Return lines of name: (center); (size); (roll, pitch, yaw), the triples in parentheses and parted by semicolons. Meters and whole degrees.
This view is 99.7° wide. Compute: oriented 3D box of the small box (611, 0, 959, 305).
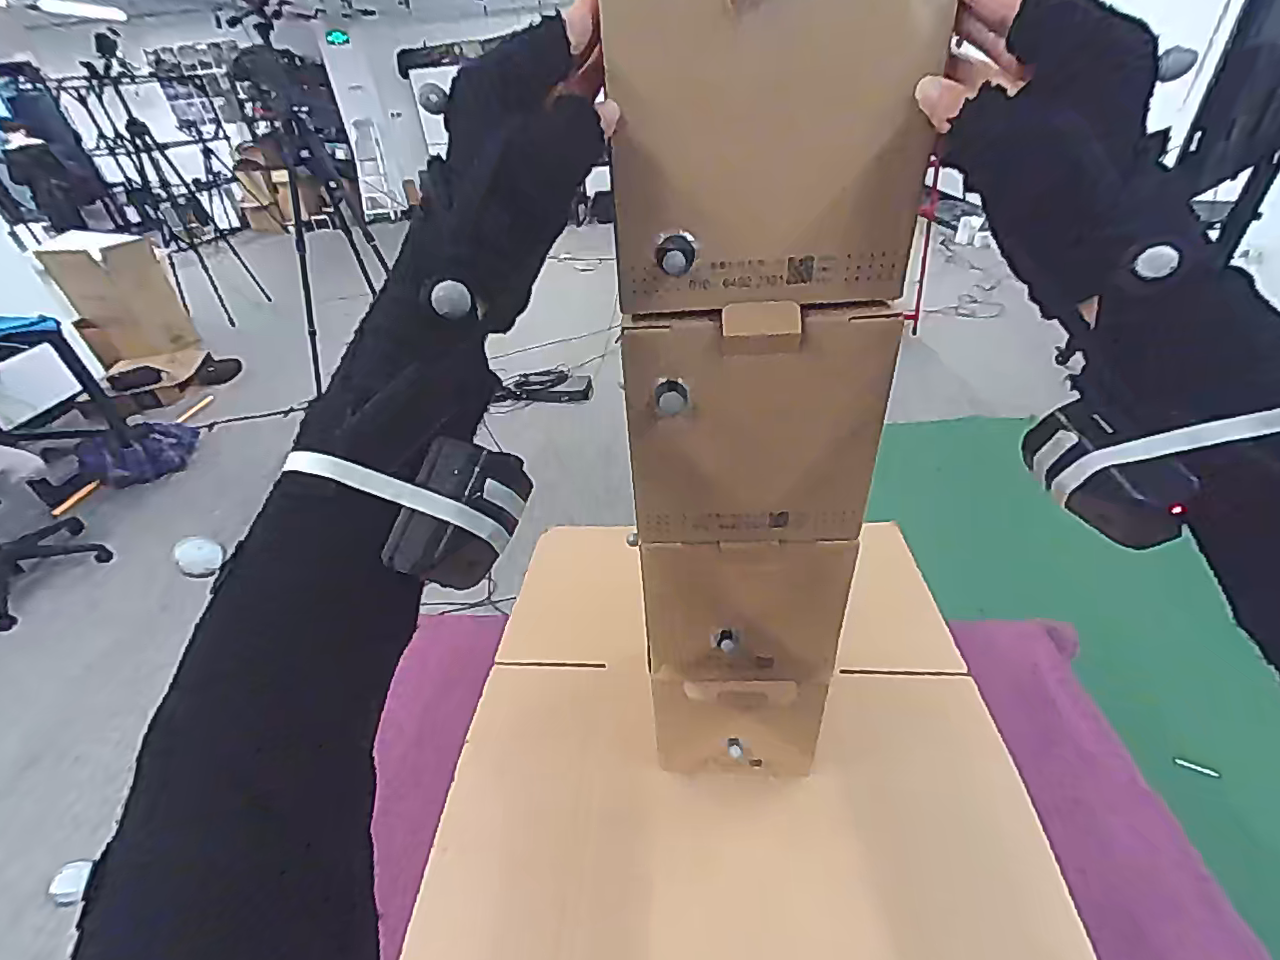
small box: (0.070, -0.215, 0.341); (0.168, 0.176, 0.179); (-4, 34, -1)

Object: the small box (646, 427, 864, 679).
small box: (0.093, 0.063, 0.519); (0.168, 0.176, 0.179); (-1, 35, 4)

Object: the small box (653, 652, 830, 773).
small box: (0.104, 0.197, 0.612); (0.168, 0.176, 0.179); (-1, 35, 6)
